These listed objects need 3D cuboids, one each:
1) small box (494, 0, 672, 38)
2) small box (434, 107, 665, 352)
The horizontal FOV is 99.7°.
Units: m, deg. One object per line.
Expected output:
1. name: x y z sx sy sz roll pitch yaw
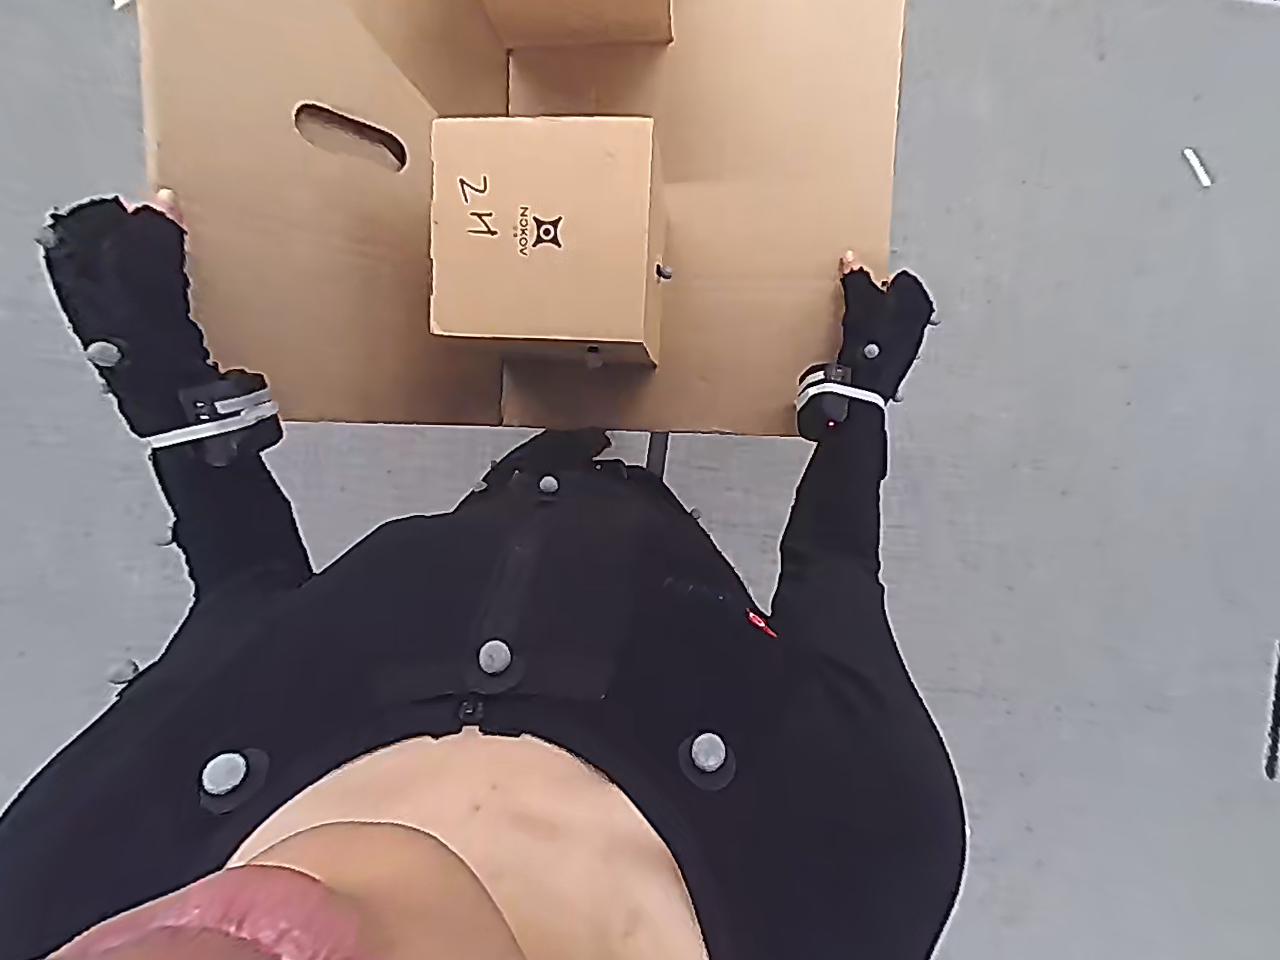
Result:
1. small box: -0.061 -0.533 0.476 0.179 0.176 0.168 1 96 6
2. small box: -0.071 -0.216 0.508 0.179 0.176 0.168 5 96 7
